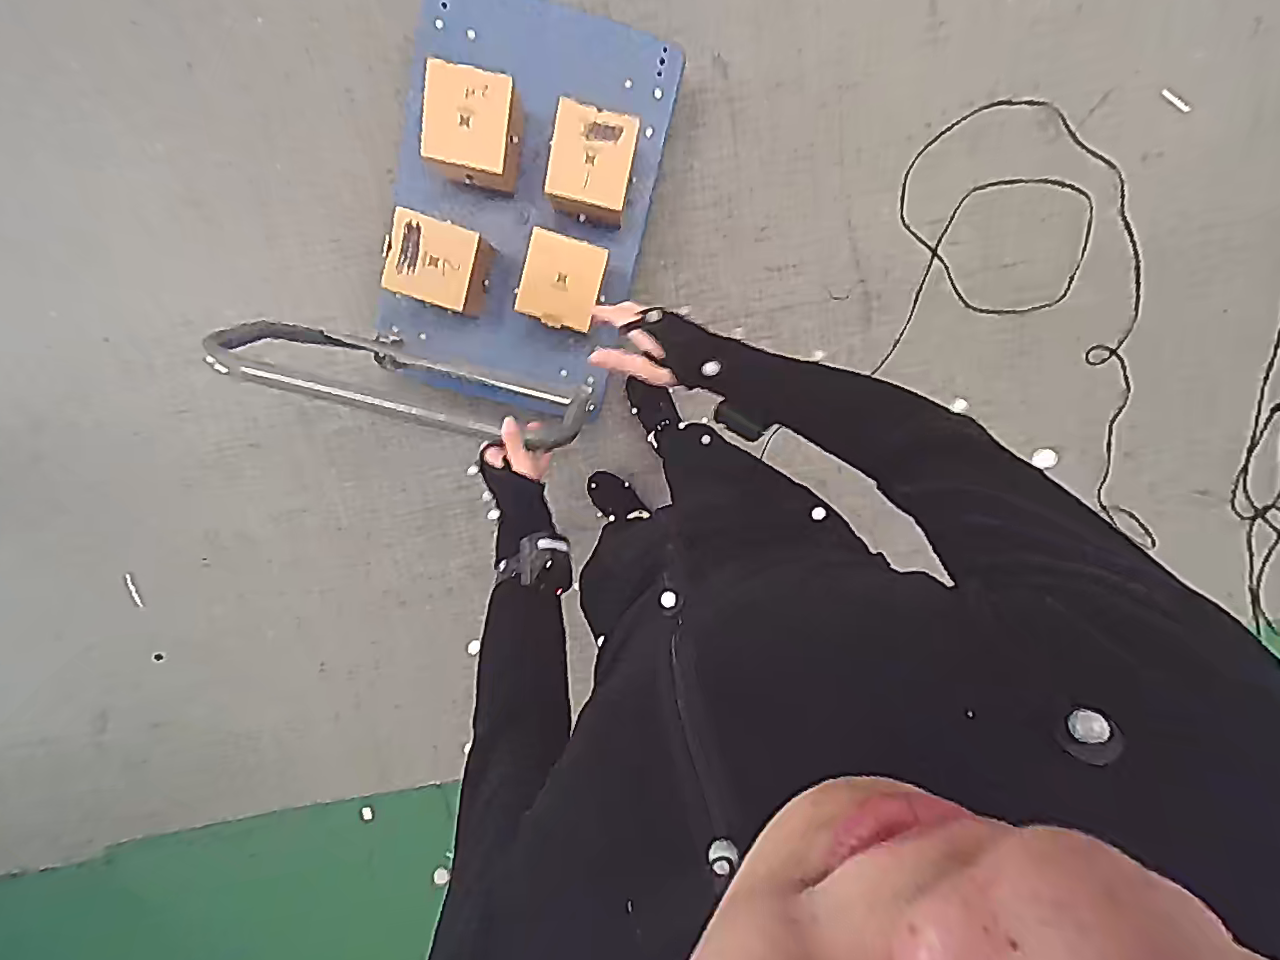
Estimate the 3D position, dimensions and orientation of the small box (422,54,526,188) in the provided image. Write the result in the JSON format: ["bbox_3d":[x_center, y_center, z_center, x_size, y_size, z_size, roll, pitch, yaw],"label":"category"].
[{"bbox_3d":[-0.341,-0.739,1.136,0.168,0.176,0.179,10,104,-5],"label":"small box"}]

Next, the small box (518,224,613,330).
[{"bbox_3d":[-0.164,-0.449,1.221,0.168,0.176,0.179,15,104,-6],"label":"small box"}]

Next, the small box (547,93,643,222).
[{"bbox_3d":[-0.095,-0.680,1.162,0.168,0.176,0.179,12,105,-5],"label":"small box"}]
